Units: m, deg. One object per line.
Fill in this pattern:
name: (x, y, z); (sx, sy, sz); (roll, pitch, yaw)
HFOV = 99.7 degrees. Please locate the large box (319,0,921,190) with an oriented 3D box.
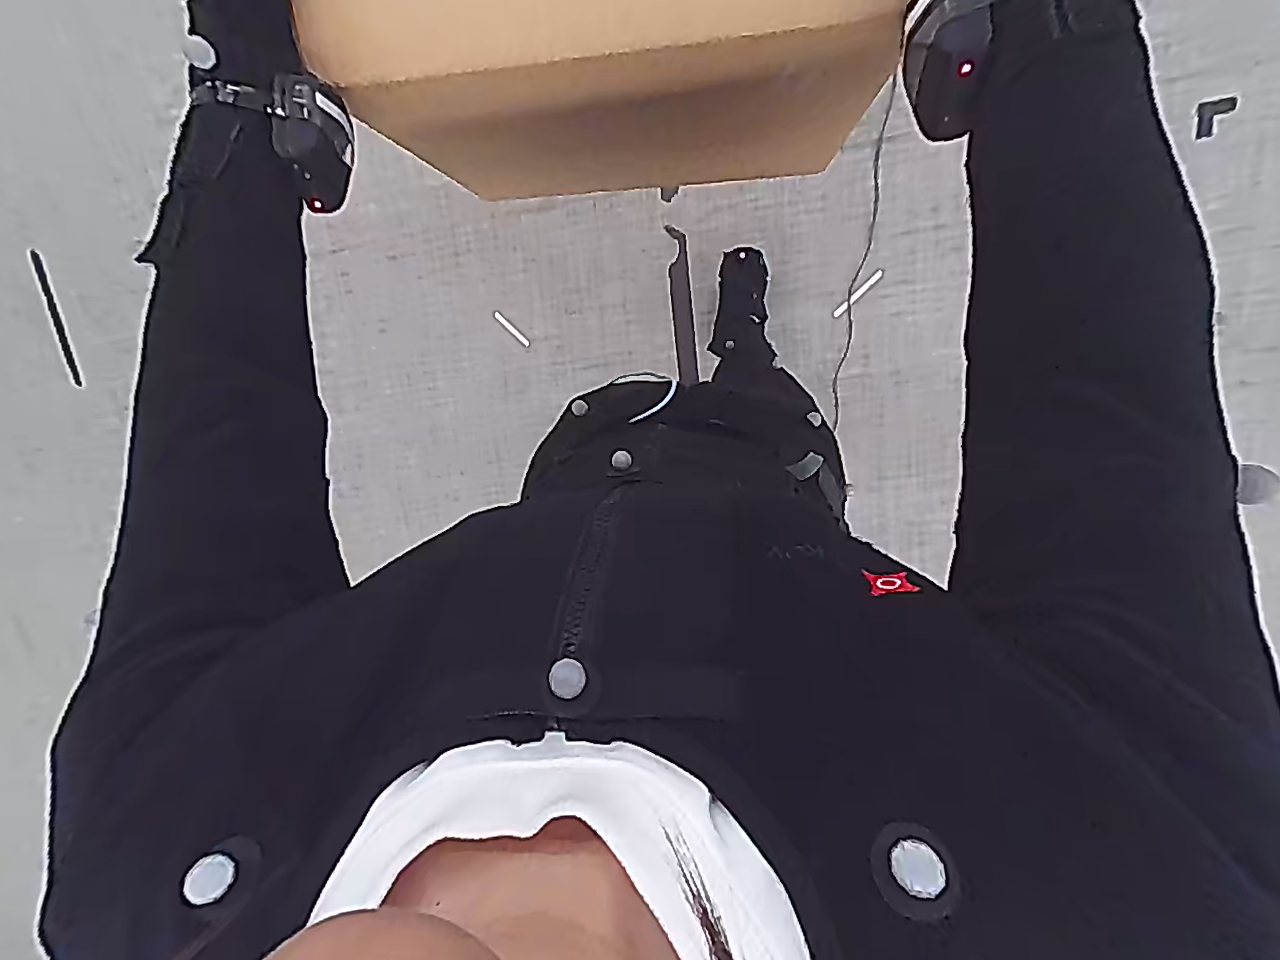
large box: (-0.012, -0.471, 0.456); (0.408, 0.320, 0.320); (-2, 105, 6)
